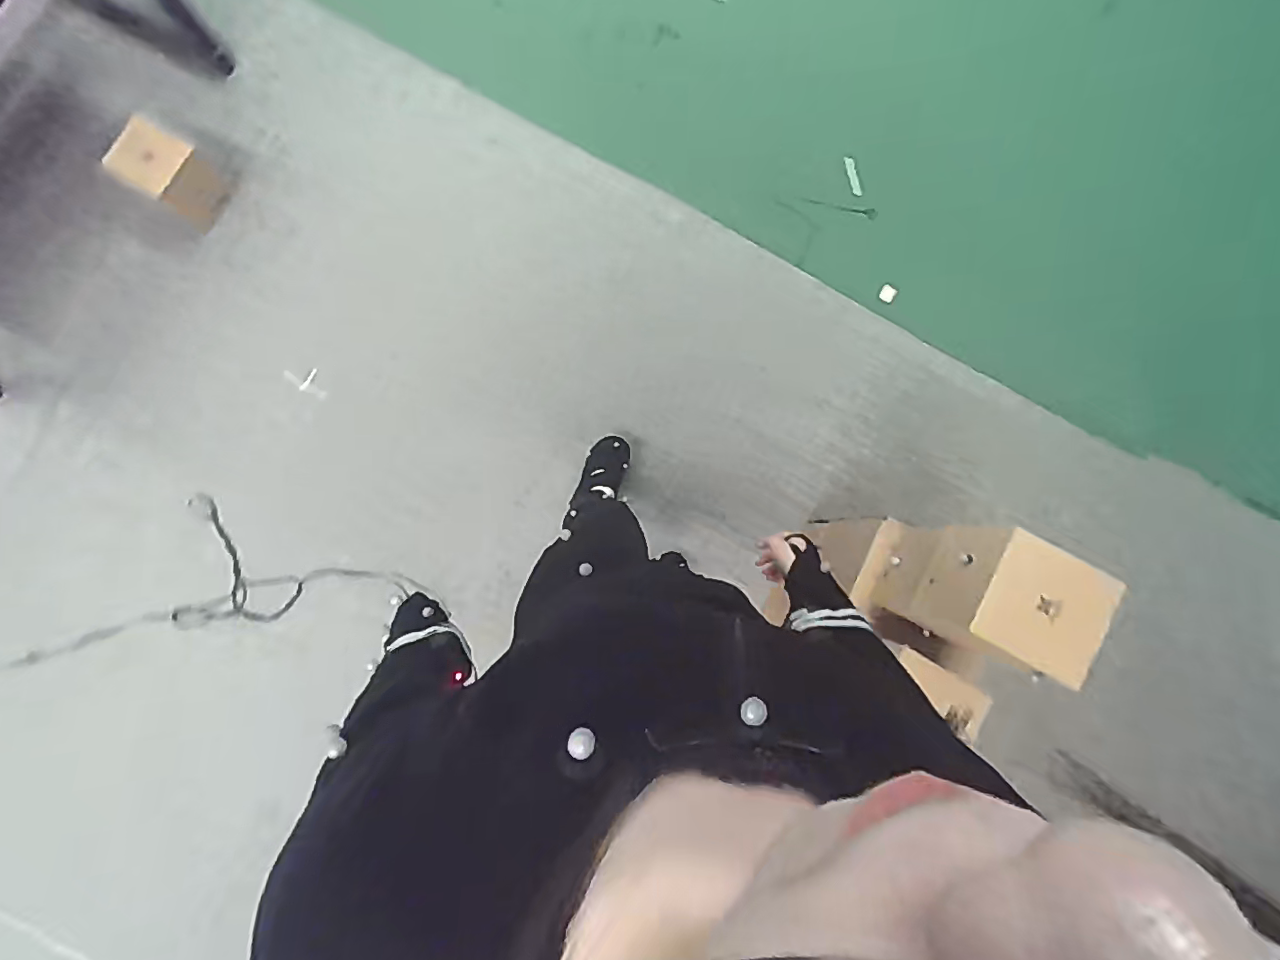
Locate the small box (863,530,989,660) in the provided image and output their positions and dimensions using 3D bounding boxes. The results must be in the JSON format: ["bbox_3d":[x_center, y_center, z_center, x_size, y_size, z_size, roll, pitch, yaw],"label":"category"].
[{"bbox_3d":[0.559,0.201,1.008,0.179,0.176,0.168,30,86,1],"label":"small box"}]

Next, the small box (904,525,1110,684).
[{"bbox_3d":[0.555,0.183,0.846,0.179,0.176,0.168,29,86,0],"label":"small box"}]
